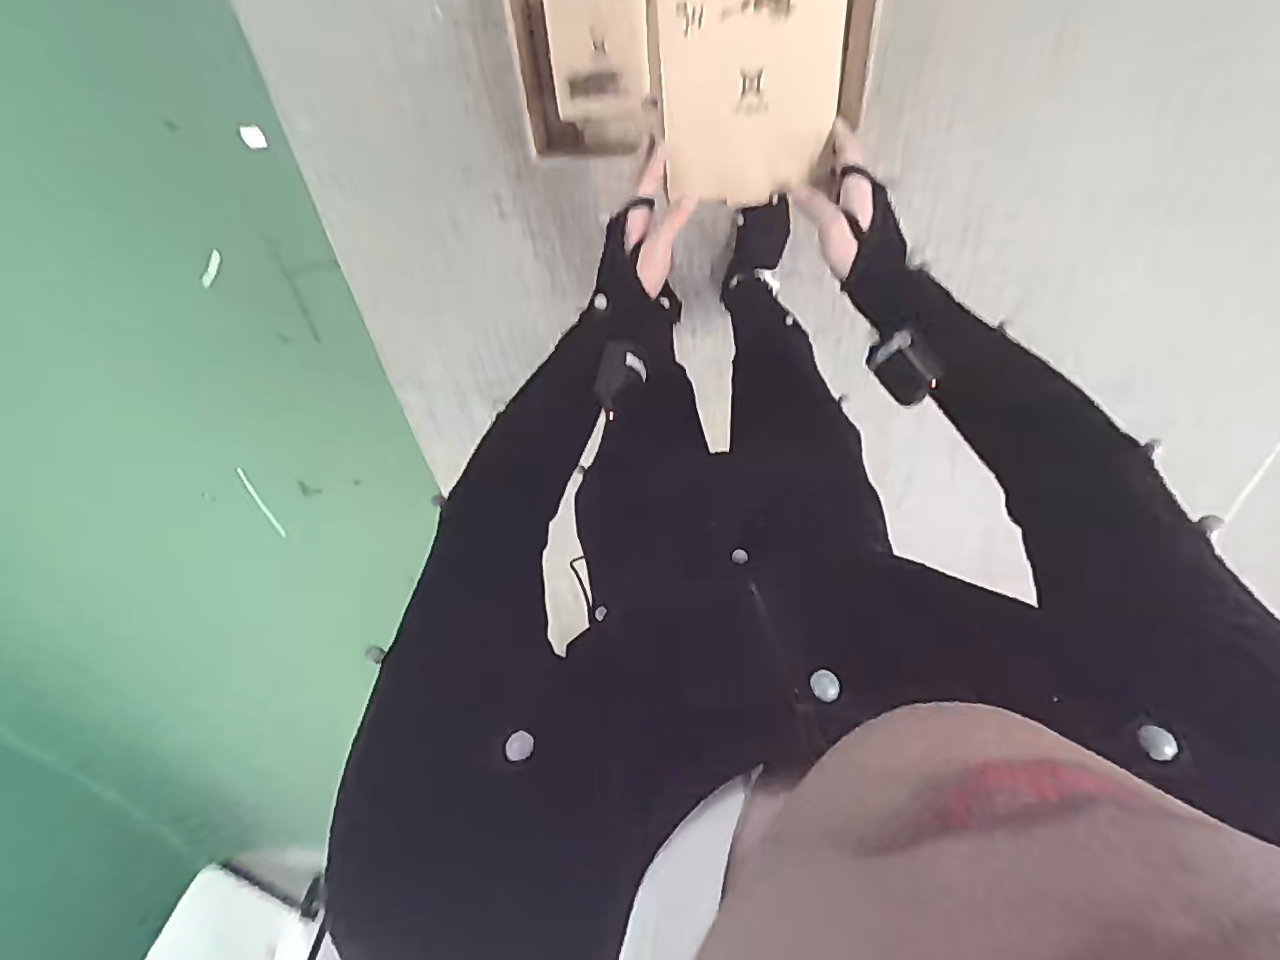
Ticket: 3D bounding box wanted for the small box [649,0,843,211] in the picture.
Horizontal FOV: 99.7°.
[{"bbox_3d":[0.097,-0.401,0.567,0.168,0.176,0.179,-5,127,3],"label":"small box"}]
